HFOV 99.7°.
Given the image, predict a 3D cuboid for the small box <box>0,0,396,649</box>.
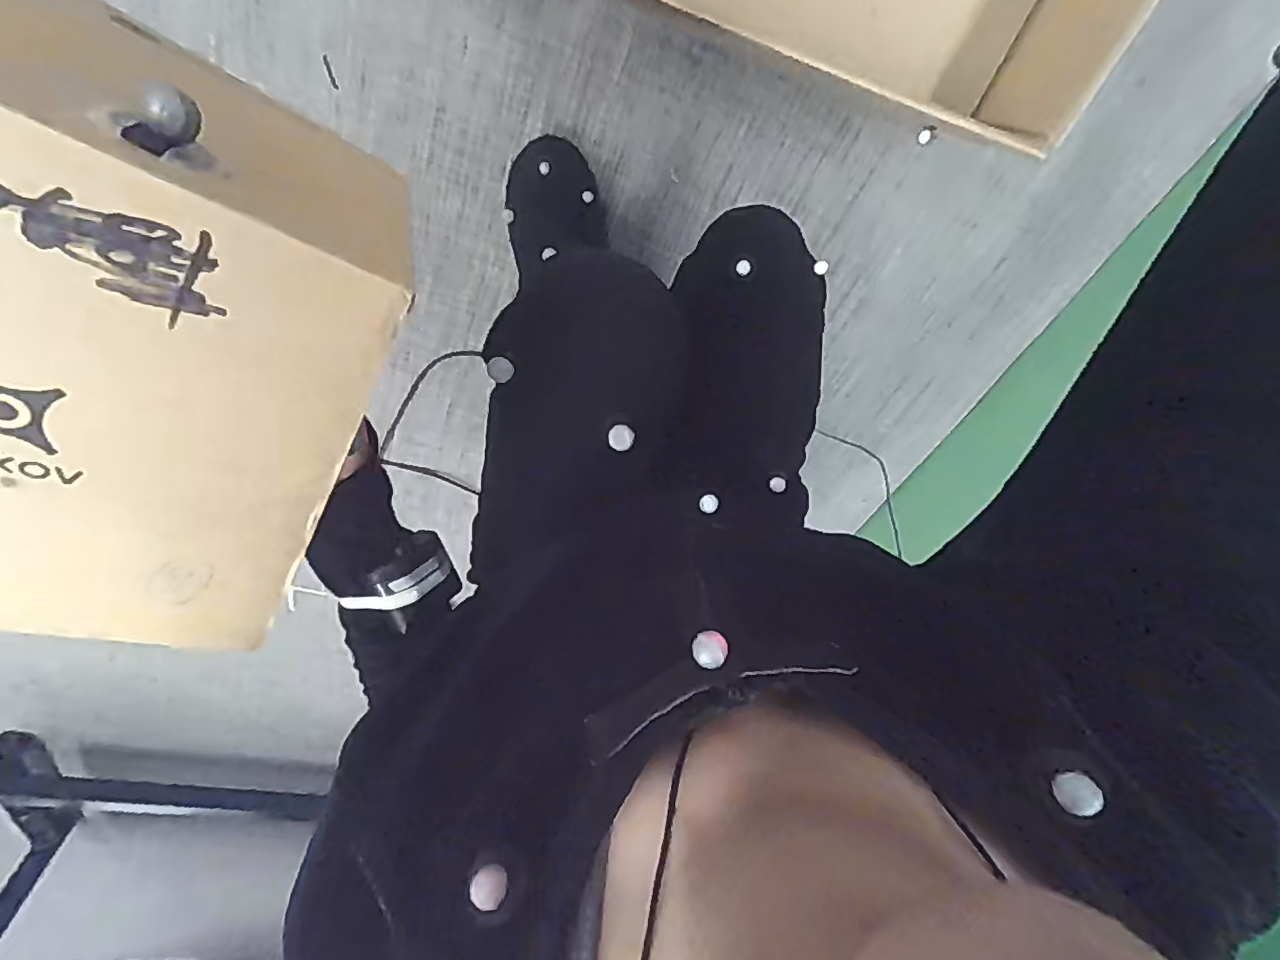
[{"bbox_3d":[-0.202,-0.067,0.196,0.168,0.176,0.179,19,118,-36],"label":"small box"}]
